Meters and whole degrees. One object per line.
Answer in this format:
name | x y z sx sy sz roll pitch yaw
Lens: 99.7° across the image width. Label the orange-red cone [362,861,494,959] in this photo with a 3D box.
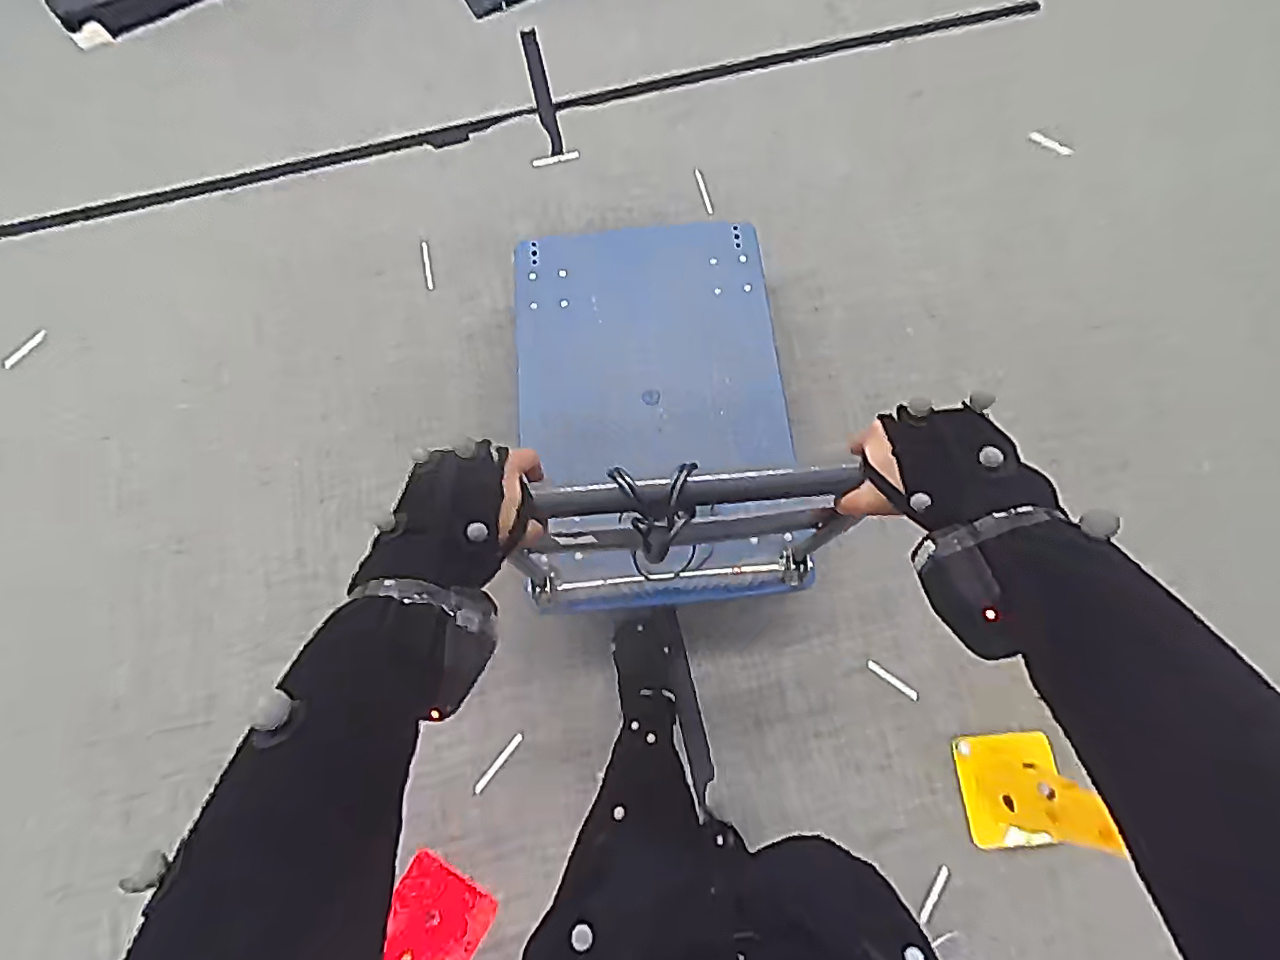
orange-red cone | -0.407 0.827 0.879 0.198 0.360 0.199 31 75 9
